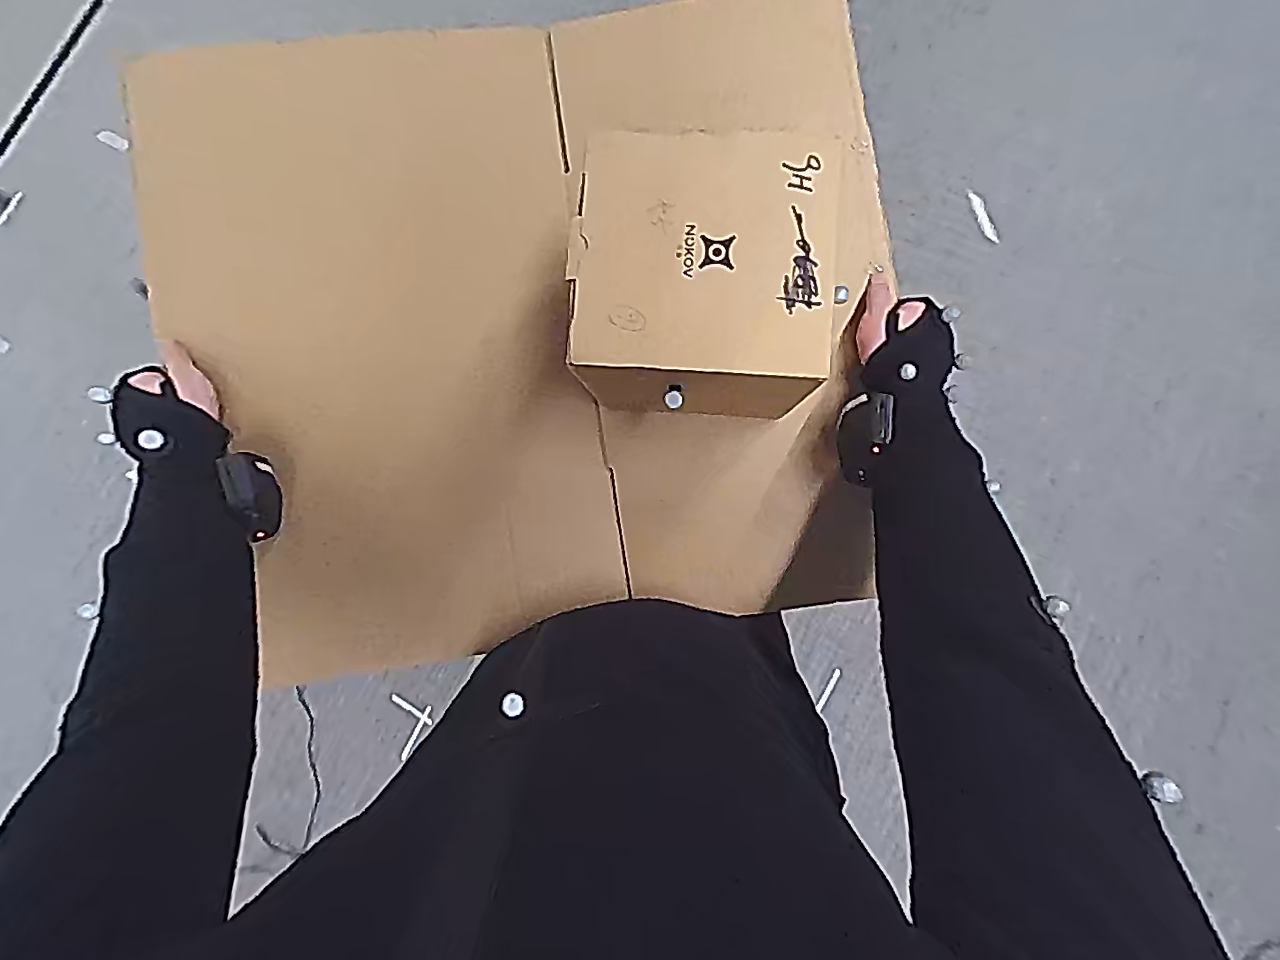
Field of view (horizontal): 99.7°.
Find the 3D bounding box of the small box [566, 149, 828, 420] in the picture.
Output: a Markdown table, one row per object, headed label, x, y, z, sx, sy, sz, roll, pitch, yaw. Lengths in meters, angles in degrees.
| label | x | y | z | sx | sy | sz | roll | pitch | yaw |
| --- | --- | --- | --- | --- | --- | --- | --- | --- | --- |
| small box | 0.047 | -0.145 | 0.455 | 0.179 | 0.176 | 0.168 | 3 | 88 | 6 |
